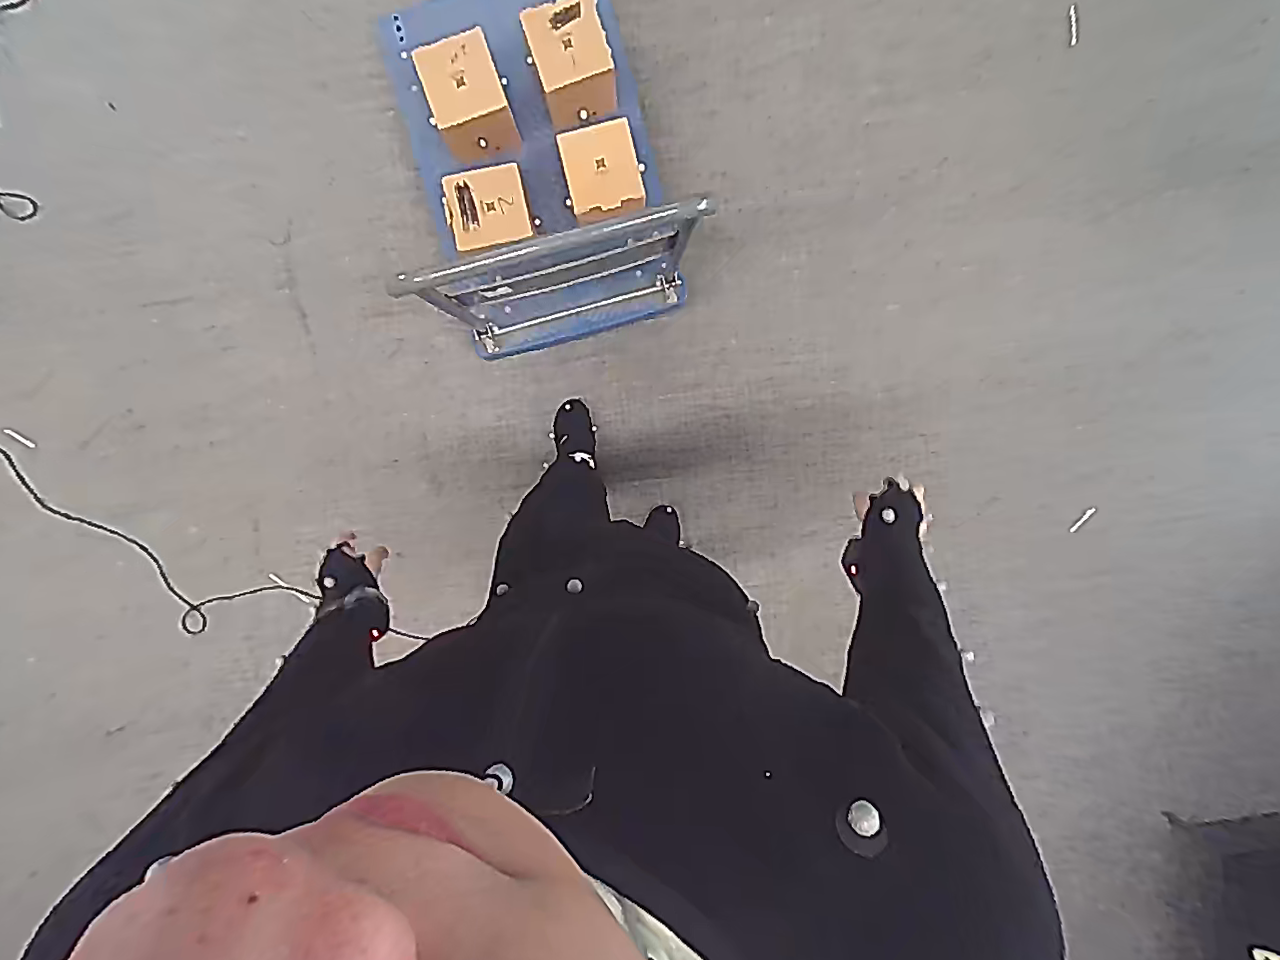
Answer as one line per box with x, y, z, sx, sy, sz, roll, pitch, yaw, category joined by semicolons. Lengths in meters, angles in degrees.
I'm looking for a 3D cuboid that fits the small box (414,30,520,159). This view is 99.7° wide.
-0.398;-0.897;1.282;0.168;0.176;0.179;-19;95;0;small box

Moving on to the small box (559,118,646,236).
-0.088;-0.722;1.304;0.168;0.176;0.179;-15;96;0;small box

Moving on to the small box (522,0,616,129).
-0.161;-0.981;1.278;0.168;0.176;0.179;-19;96;2;small box
